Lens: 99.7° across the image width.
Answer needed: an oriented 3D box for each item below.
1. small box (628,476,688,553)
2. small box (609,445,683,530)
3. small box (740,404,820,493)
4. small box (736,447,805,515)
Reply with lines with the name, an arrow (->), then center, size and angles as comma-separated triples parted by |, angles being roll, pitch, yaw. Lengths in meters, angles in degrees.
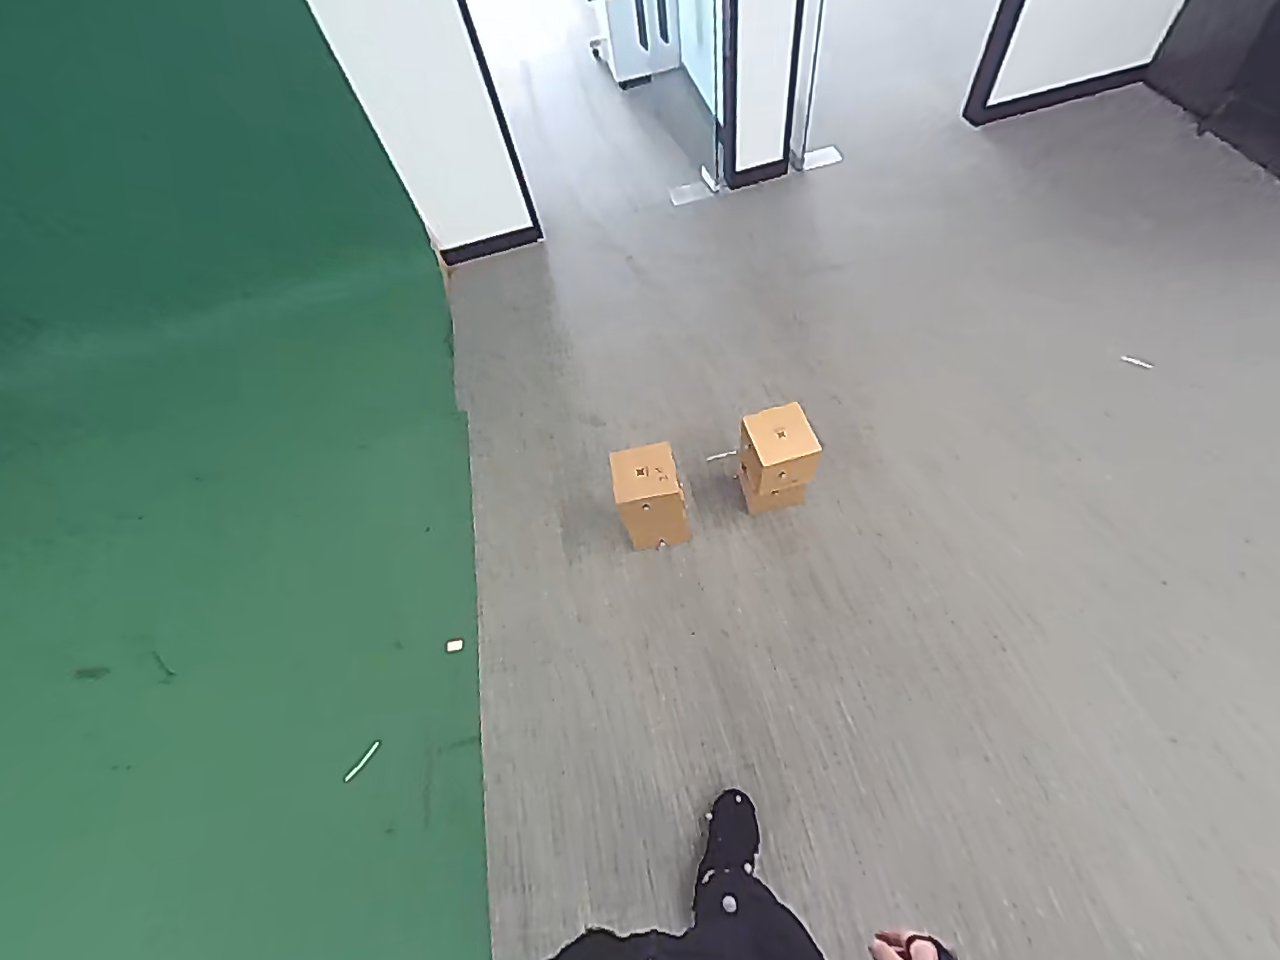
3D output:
small box -> 0.050, 0.110, 1.666 | 0.179, 0.176, 0.168 | -11, 58, 2
small box -> 0.020, 0.028, 1.526 | 0.179, 0.176, 0.168 | -11, 59, 3
small box -> 0.390, -0.079, 1.531 | 0.168, 0.176, 0.179 | -16, 58, 0
small box -> 0.405, -0.009, 1.677 | 0.179, 0.176, 0.168 | -13, 59, 1
